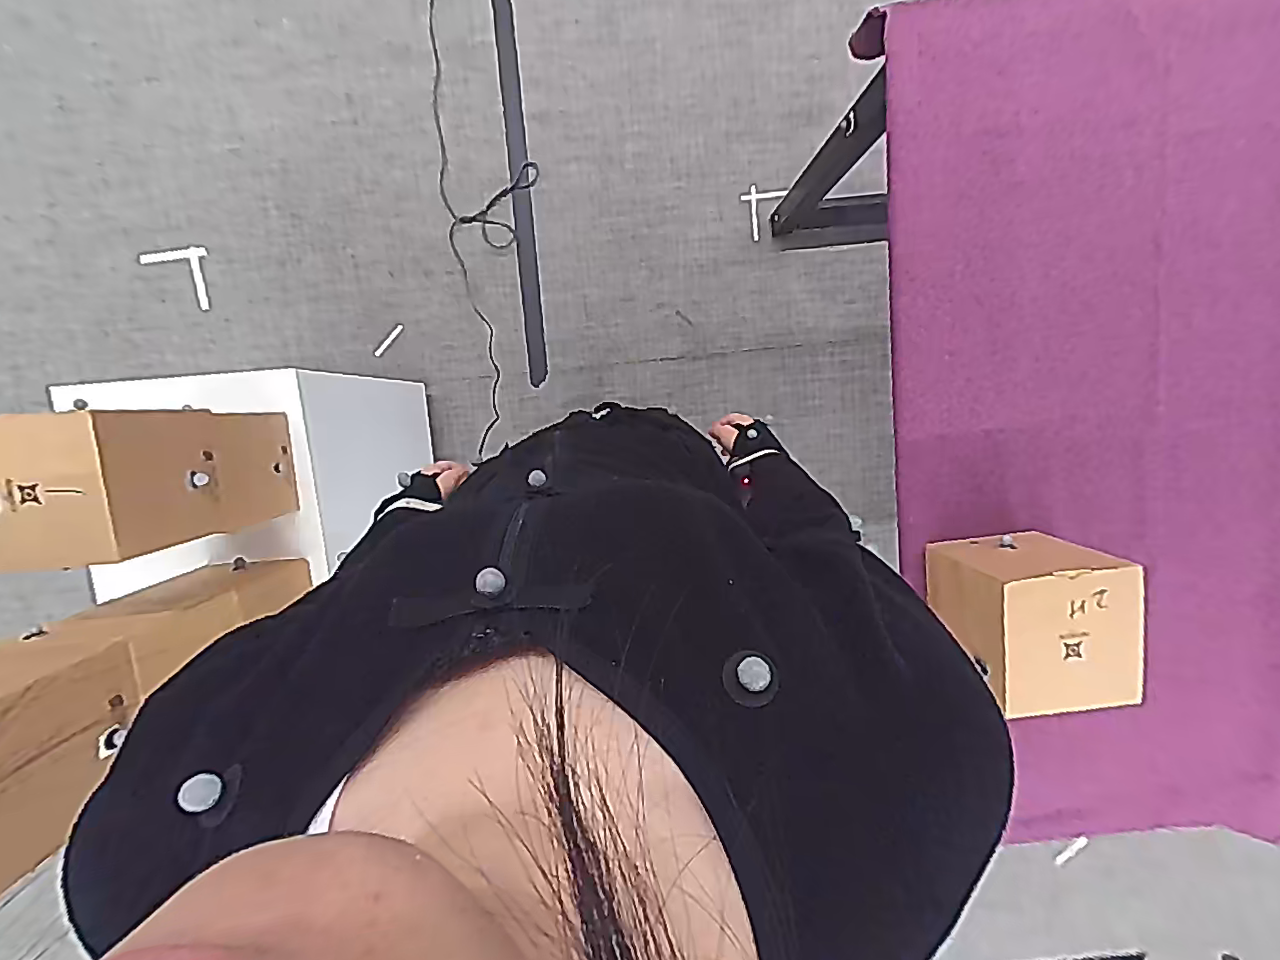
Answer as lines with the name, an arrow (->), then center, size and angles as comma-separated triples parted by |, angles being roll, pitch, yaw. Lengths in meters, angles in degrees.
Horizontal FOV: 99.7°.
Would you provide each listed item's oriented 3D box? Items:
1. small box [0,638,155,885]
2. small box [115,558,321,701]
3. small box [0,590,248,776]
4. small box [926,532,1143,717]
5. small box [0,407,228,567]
small box -> -0.631, 0.266, 0.513 | 0.179, 0.176, 0.168 | -6, 99, -1
small box -> -0.635, 0.224, 0.835 | 0.179, 0.176, 0.168 | -4, 99, 1
small box -> -0.631, 0.245, 0.674 | 0.179, 0.176, 0.168 | -5, 98, 0
small box -> 0.502, 0.179, 0.711 | 0.168, 0.176, 0.179 | -7, 98, -1
small box -> -0.641, 0.000, 0.638 | 0.179, 0.176, 0.168 | -3, 99, -2
